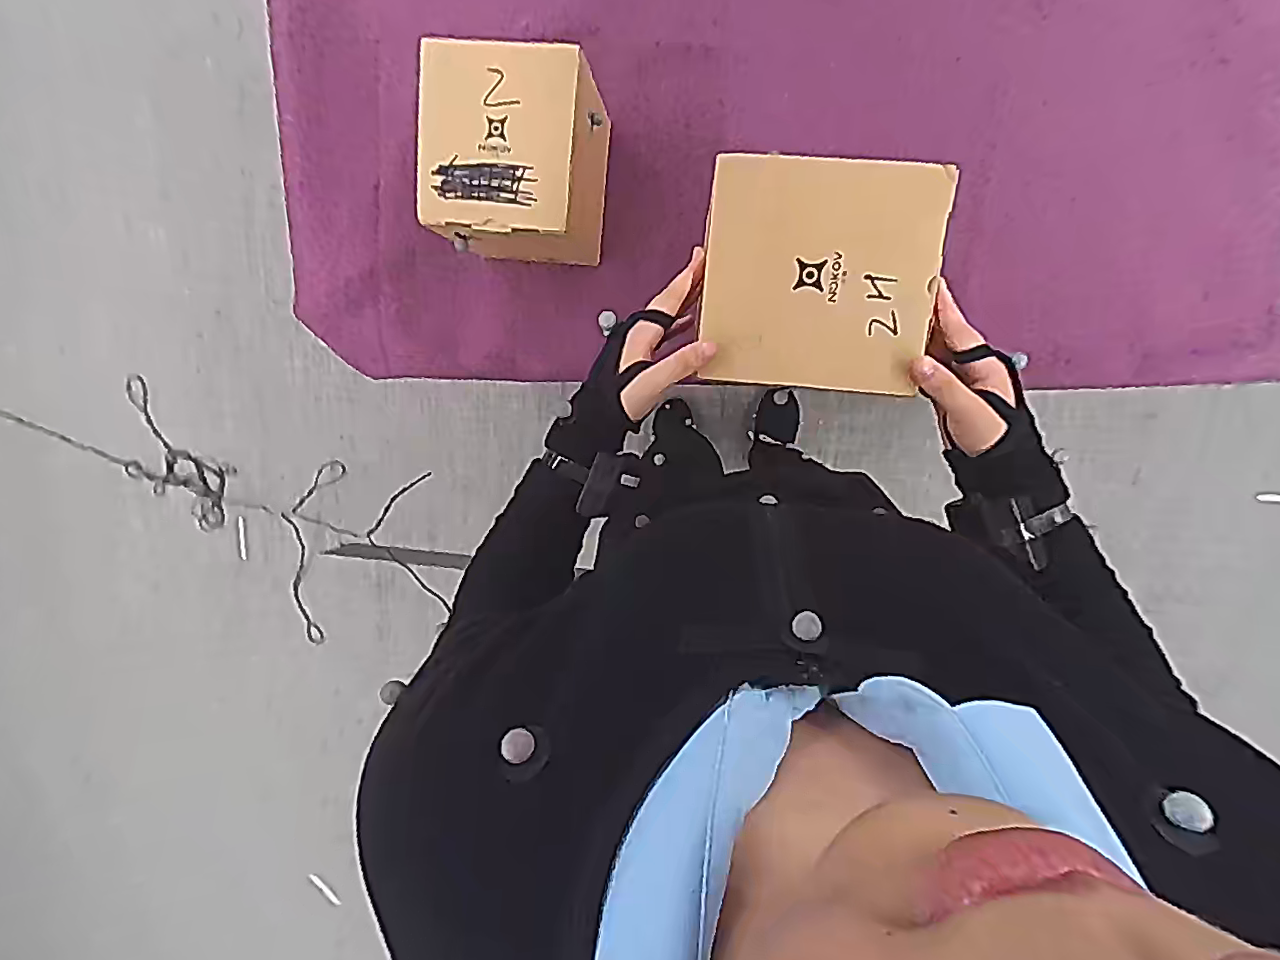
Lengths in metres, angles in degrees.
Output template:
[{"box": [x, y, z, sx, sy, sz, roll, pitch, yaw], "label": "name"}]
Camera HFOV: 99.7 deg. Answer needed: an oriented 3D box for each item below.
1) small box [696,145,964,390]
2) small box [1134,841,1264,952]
[{"box": [0.144, -0.171, 0.481, 0.179, 0.176, 0.168, 6, 101, 3], "label": "small box"}, {"box": [1.487, 1.109, 1.452, 0.179, 0.176, 0.168, -2, 101, 8], "label": "small box"}]
